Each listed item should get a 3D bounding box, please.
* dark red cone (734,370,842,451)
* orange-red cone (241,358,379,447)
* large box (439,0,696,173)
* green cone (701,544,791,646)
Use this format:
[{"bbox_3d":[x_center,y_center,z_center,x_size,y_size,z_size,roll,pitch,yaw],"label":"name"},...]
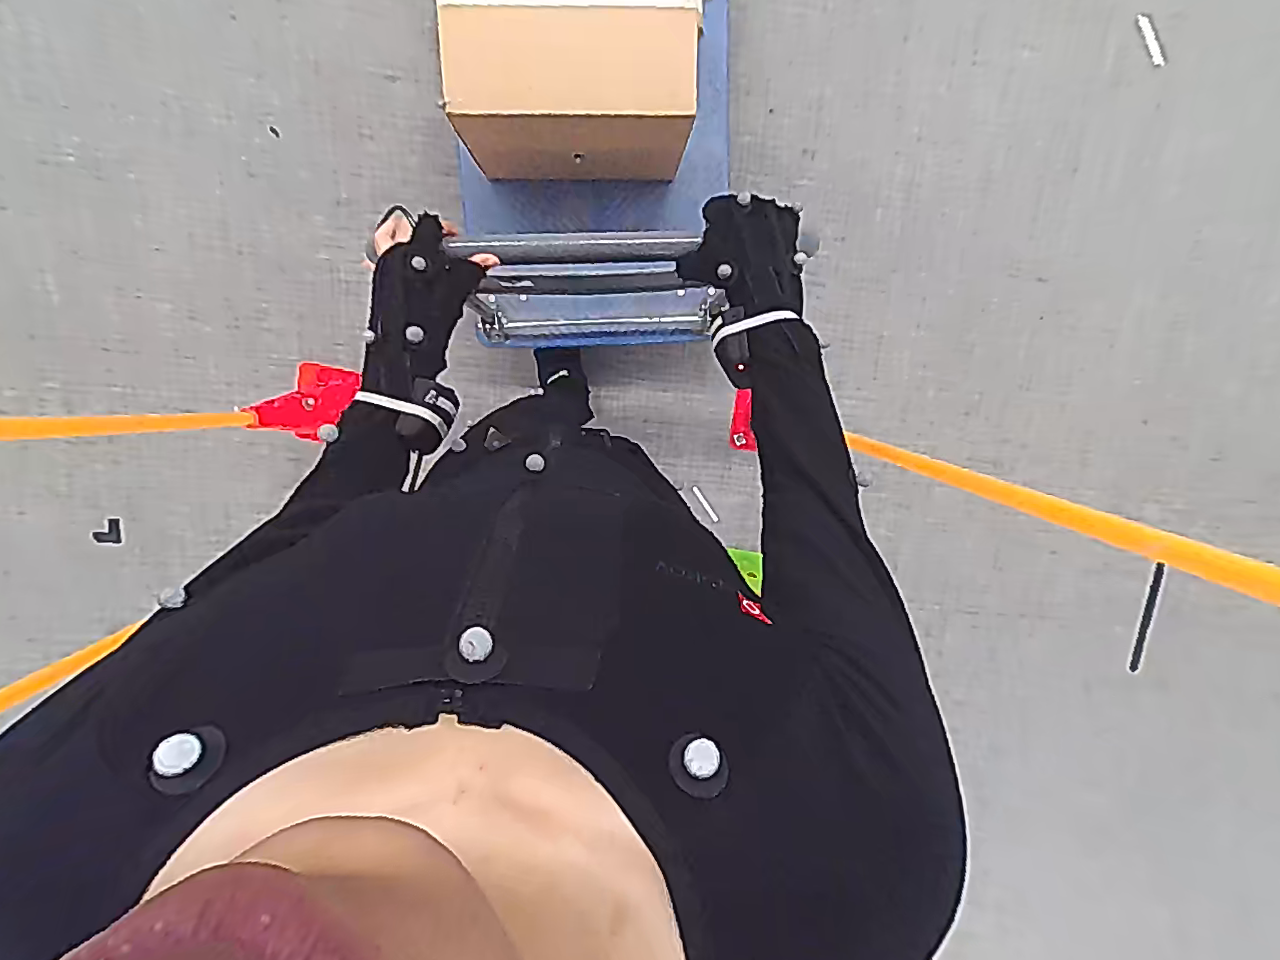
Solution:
[{"bbox_3d":[0.366,-0.150,1.265,0.201,0.394,0.202,5,101,-6],"label":"dark red cone"},{"bbox_3d":[-0.767,-0.166,1.216,0.198,0.360,0.199,12,99,-7],"label":"orange-red cone"},{"bbox_3d":[-0.118,-0.774,0.982,0.408,0.320,0.320,-2,102,-2],"label":"large box"},{"bbox_3d":[0.297,0.319,1.373,0.202,0.368,0.200,9,101,-6],"label":"green cone"}]
